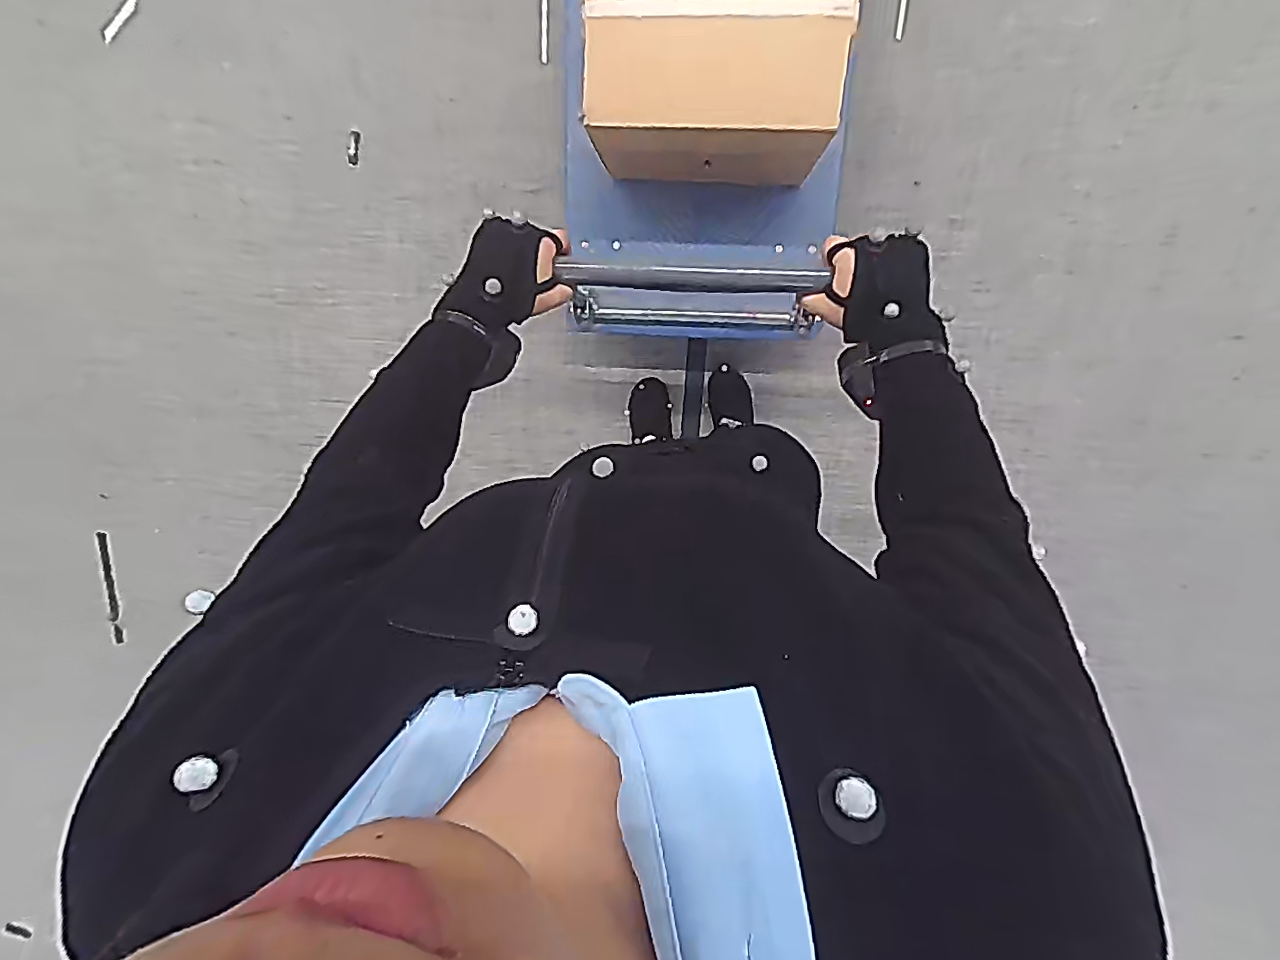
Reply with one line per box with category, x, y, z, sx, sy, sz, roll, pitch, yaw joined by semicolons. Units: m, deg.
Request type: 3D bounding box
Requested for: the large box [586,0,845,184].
large box;0.131;-0.746;0.984;0.408;0.320;0.320;4;104;6
